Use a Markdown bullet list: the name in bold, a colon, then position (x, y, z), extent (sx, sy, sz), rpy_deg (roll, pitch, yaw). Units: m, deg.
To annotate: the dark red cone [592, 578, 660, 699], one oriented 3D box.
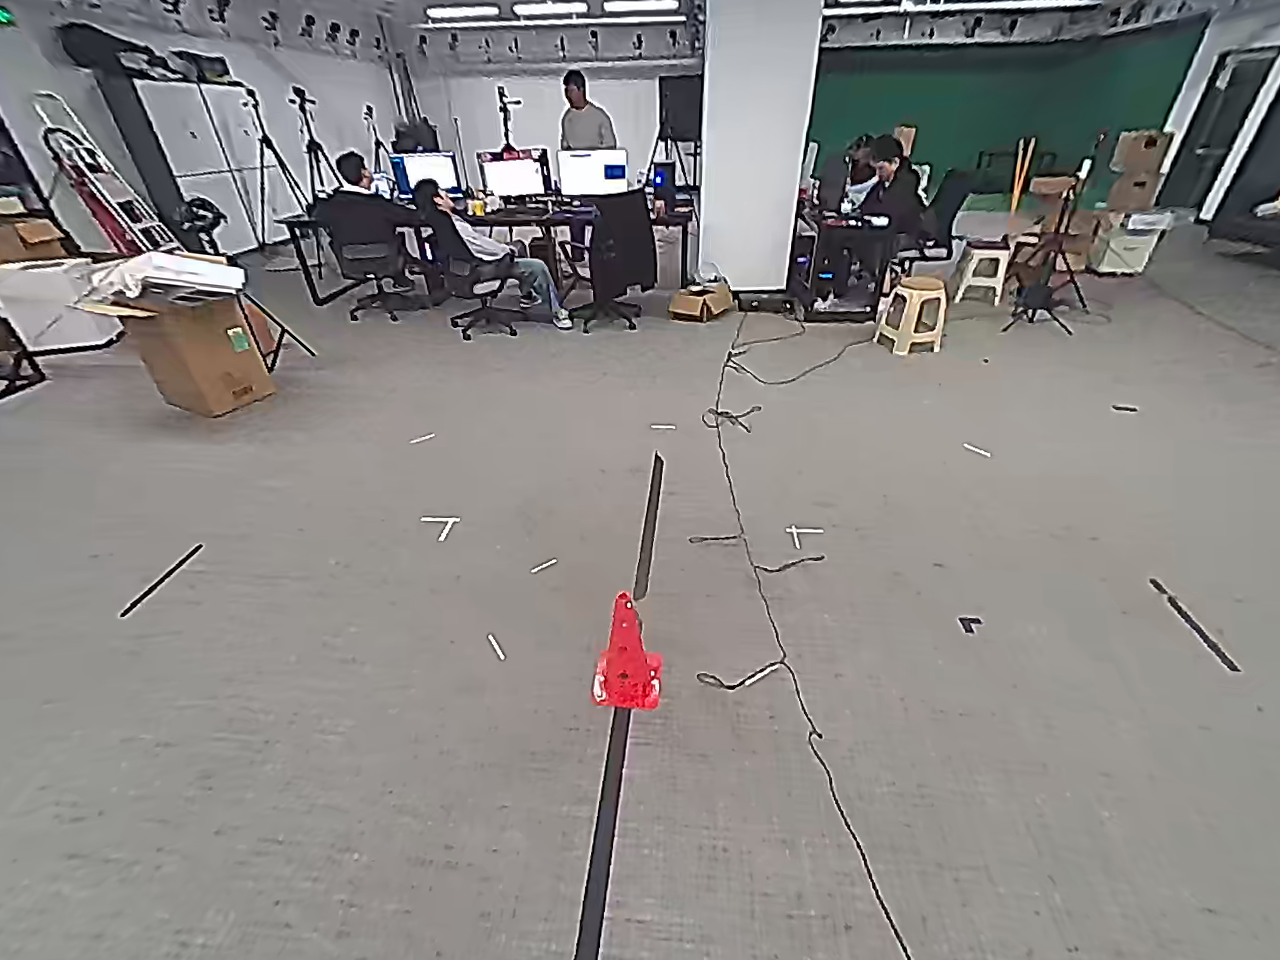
- **dark red cone**: position (-0.041, 0.440, 1.560), extent (0.201, 0.394, 0.202), rpy_deg (2, 33, 4)
